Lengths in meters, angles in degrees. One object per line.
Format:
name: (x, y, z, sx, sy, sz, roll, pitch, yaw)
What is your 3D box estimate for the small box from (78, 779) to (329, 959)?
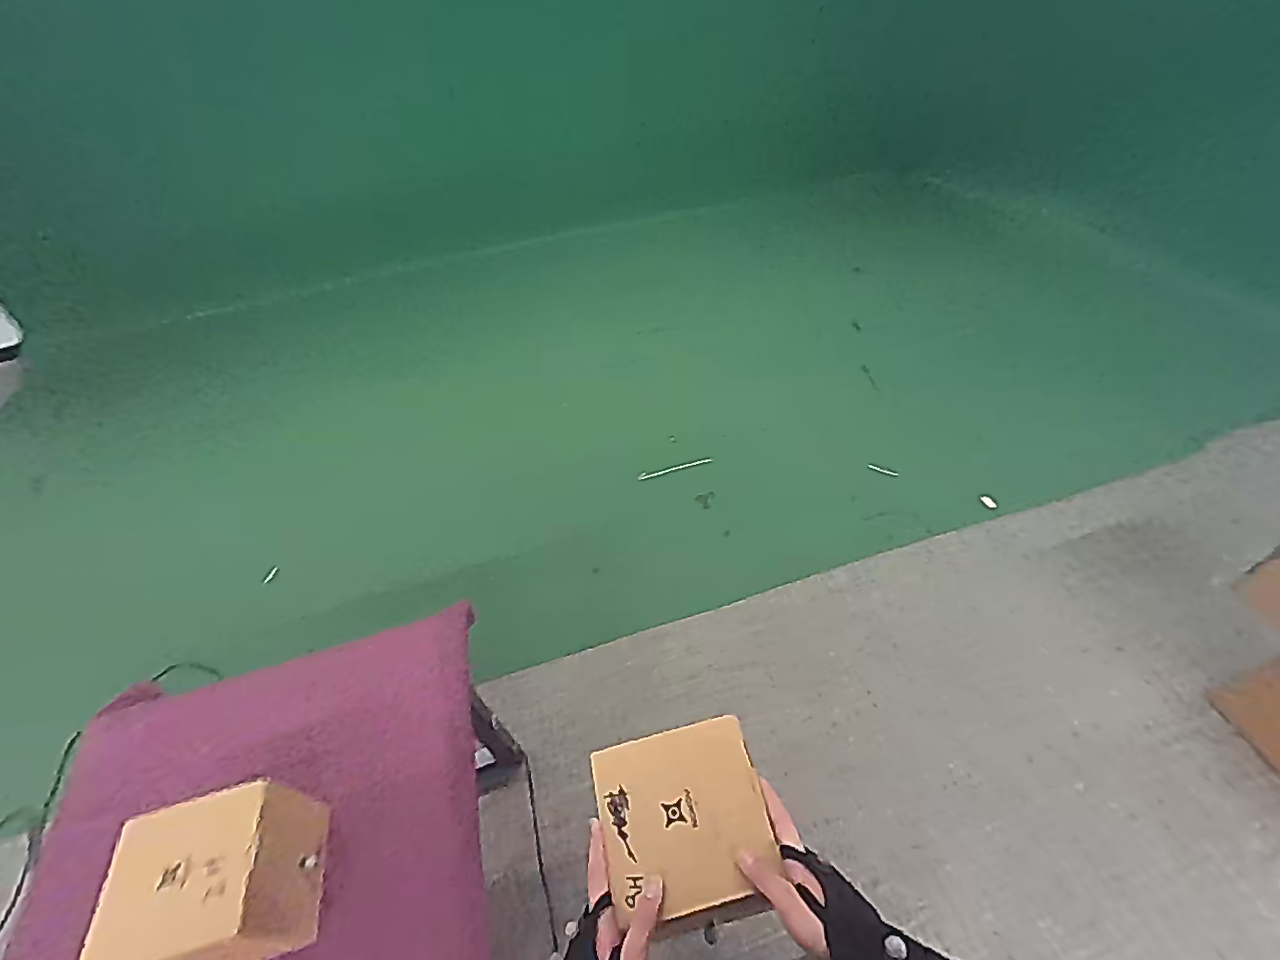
small box: (-0.542, 0.521, 0.700, 0.179, 0.176, 0.168, -14, 48, -7)

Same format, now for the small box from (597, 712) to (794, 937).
small box: (0.056, 0.396, 0.620, 0.179, 0.176, 0.168, -12, 45, -3)
